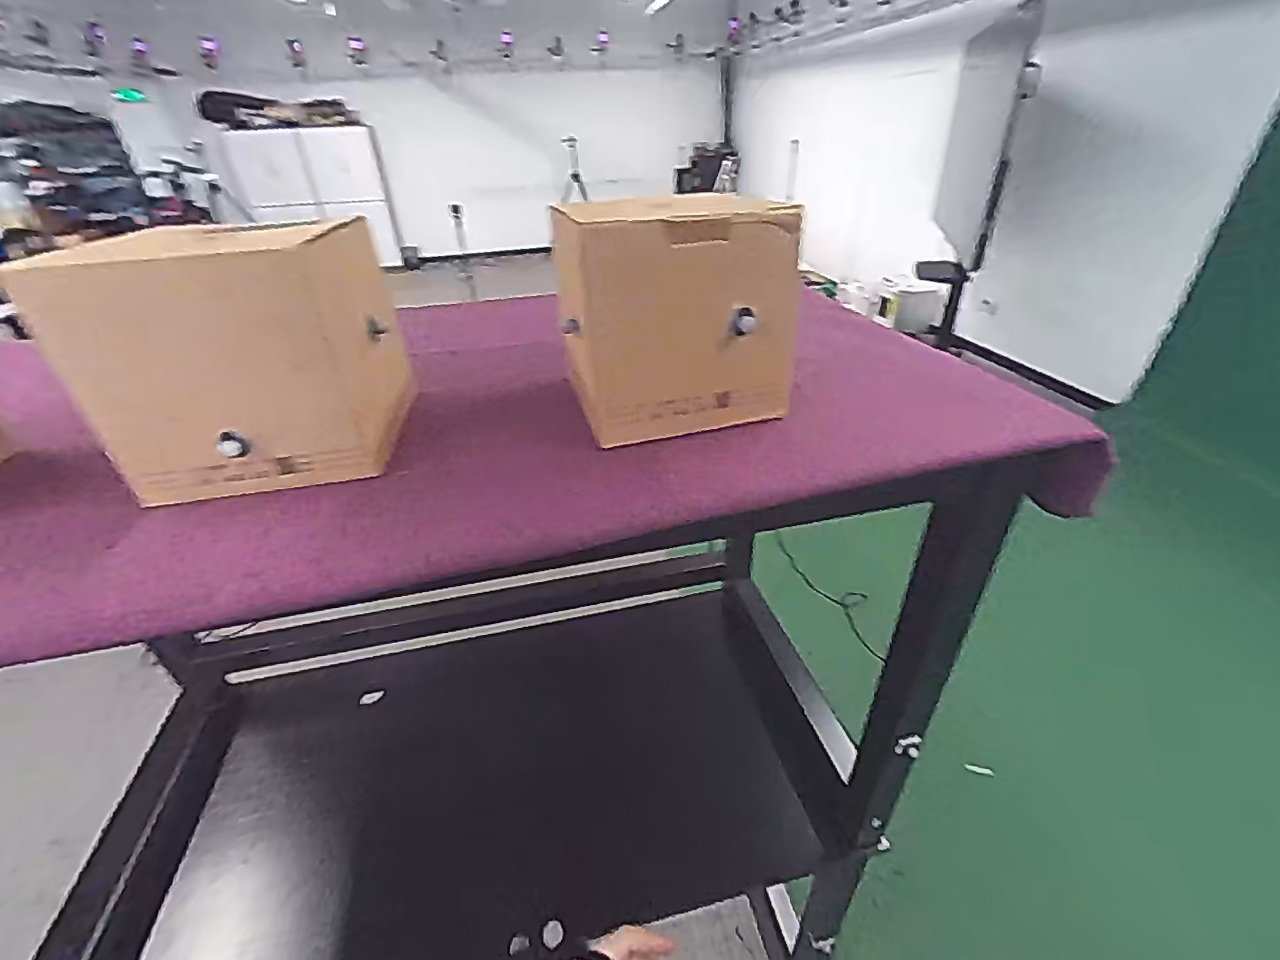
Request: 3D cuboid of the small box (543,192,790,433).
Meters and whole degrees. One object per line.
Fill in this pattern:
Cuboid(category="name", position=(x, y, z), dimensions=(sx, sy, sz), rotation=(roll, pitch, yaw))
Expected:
Cuboid(category="small box", position=(0.015, -0.149, 0.480), dimensions=(0.168, 0.176, 0.179), rotation=(-10, 32, -11))
